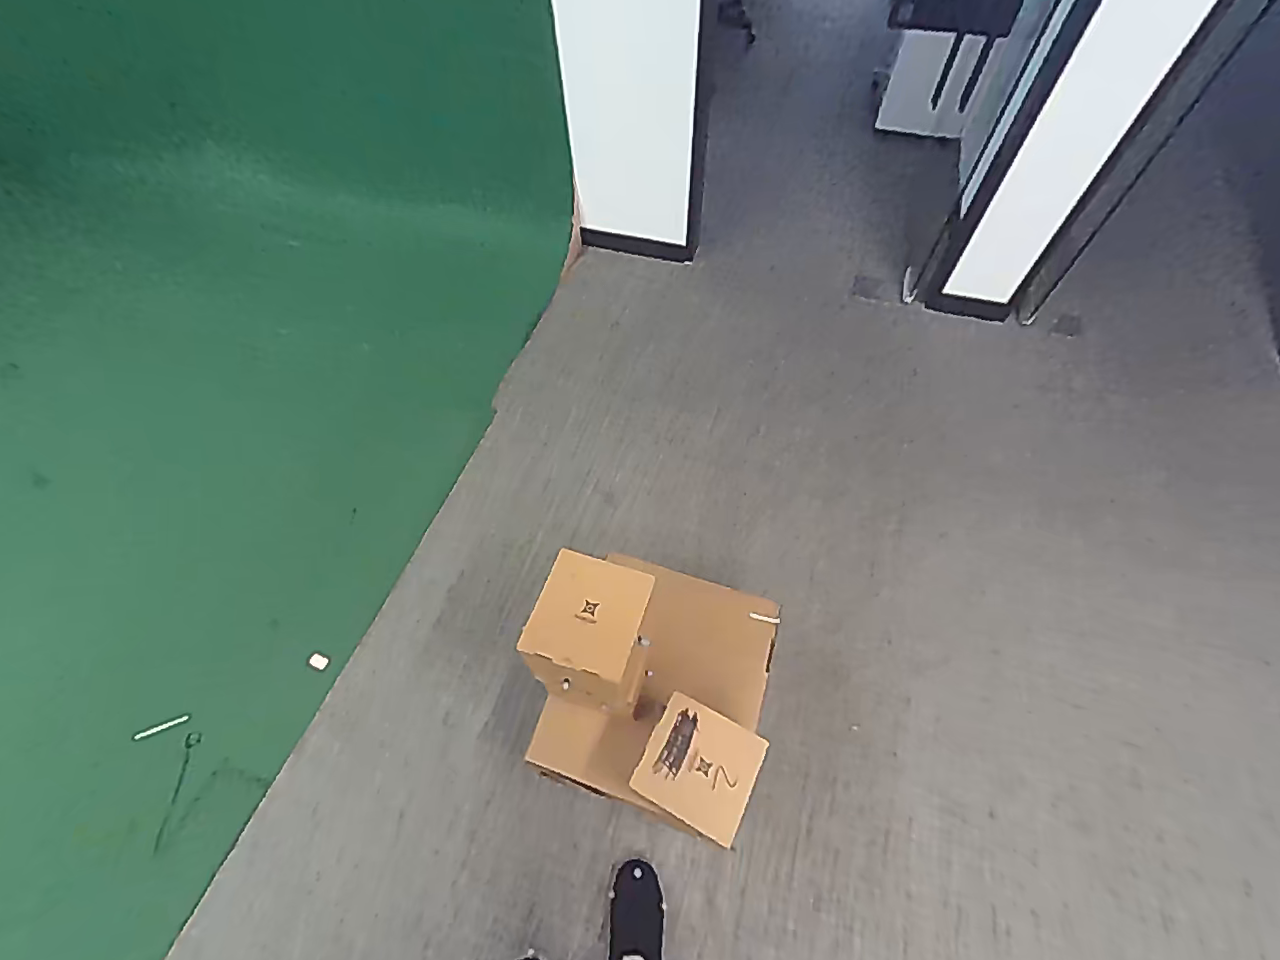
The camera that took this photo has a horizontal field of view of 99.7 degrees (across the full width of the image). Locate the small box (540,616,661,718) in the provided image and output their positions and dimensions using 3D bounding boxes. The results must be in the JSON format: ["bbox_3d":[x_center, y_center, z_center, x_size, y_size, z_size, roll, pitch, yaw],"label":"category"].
[{"bbox_3d":[-0.067,0.338,1.029,0.179,0.176,0.168,14,57,11],"label":"small box"}]

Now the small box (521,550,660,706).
[{"bbox_3d":[-0.073,0.248,0.893,0.168,0.176,0.179,16,59,11],"label":"small box"}]
